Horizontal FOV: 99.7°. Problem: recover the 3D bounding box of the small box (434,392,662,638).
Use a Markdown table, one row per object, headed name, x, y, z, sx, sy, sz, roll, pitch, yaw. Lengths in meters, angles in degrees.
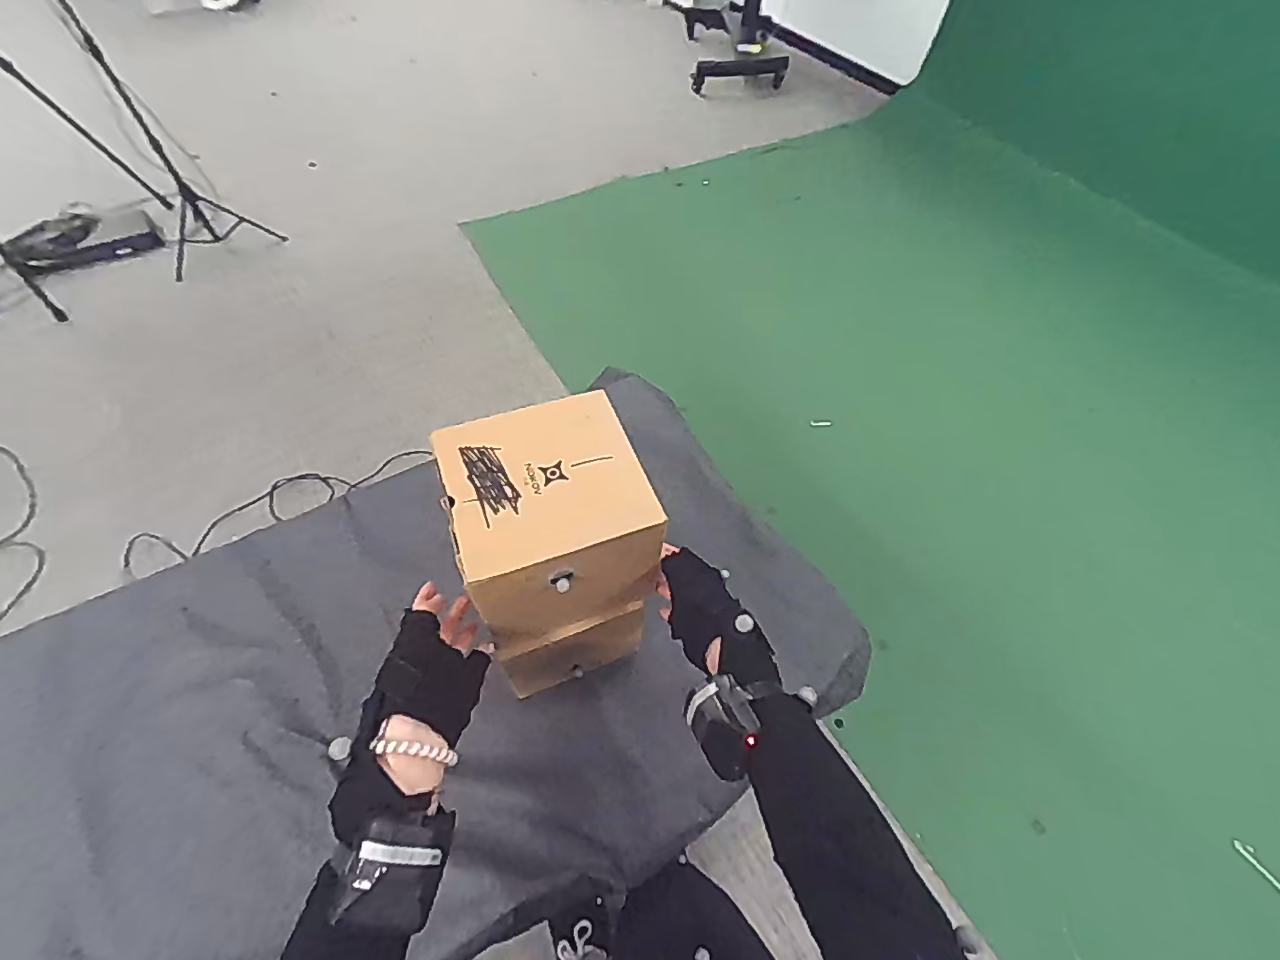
| name | x | y | z | sx | sy | sz | roll | pitch | yaw |
| --- | --- | --- | --- | --- | --- | --- | --- | --- | --- |
| small box | -0.090 | 0.041 | 0.559 | 0.179 | 0.176 | 0.168 | -17 | 59 | -14 |
